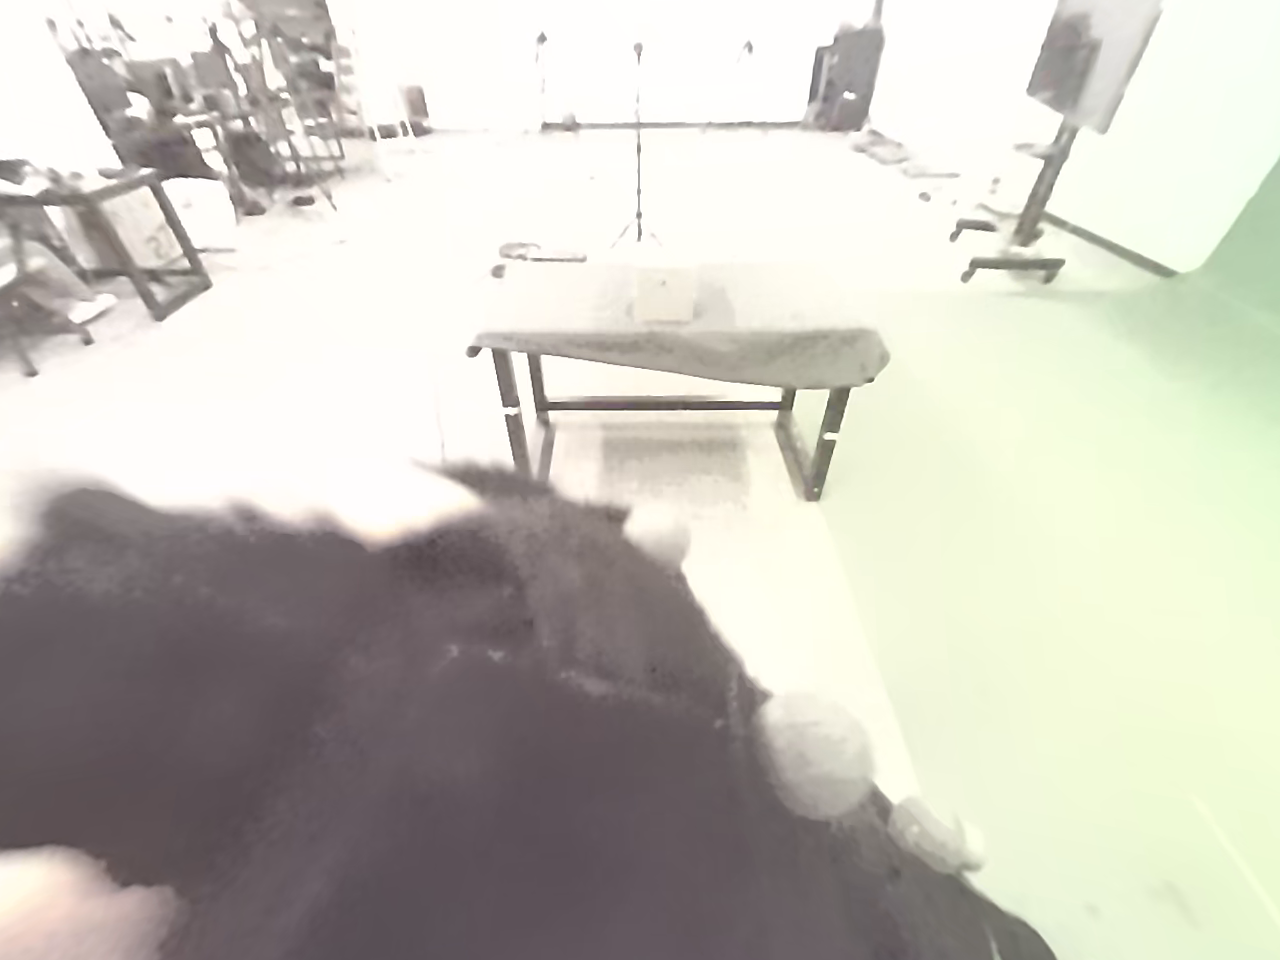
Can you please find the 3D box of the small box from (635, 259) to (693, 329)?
[{"bbox_3d":[0.074,-0.592,1.723,0.179,0.176,0.168,0,41,0],"label":"small box"}]
